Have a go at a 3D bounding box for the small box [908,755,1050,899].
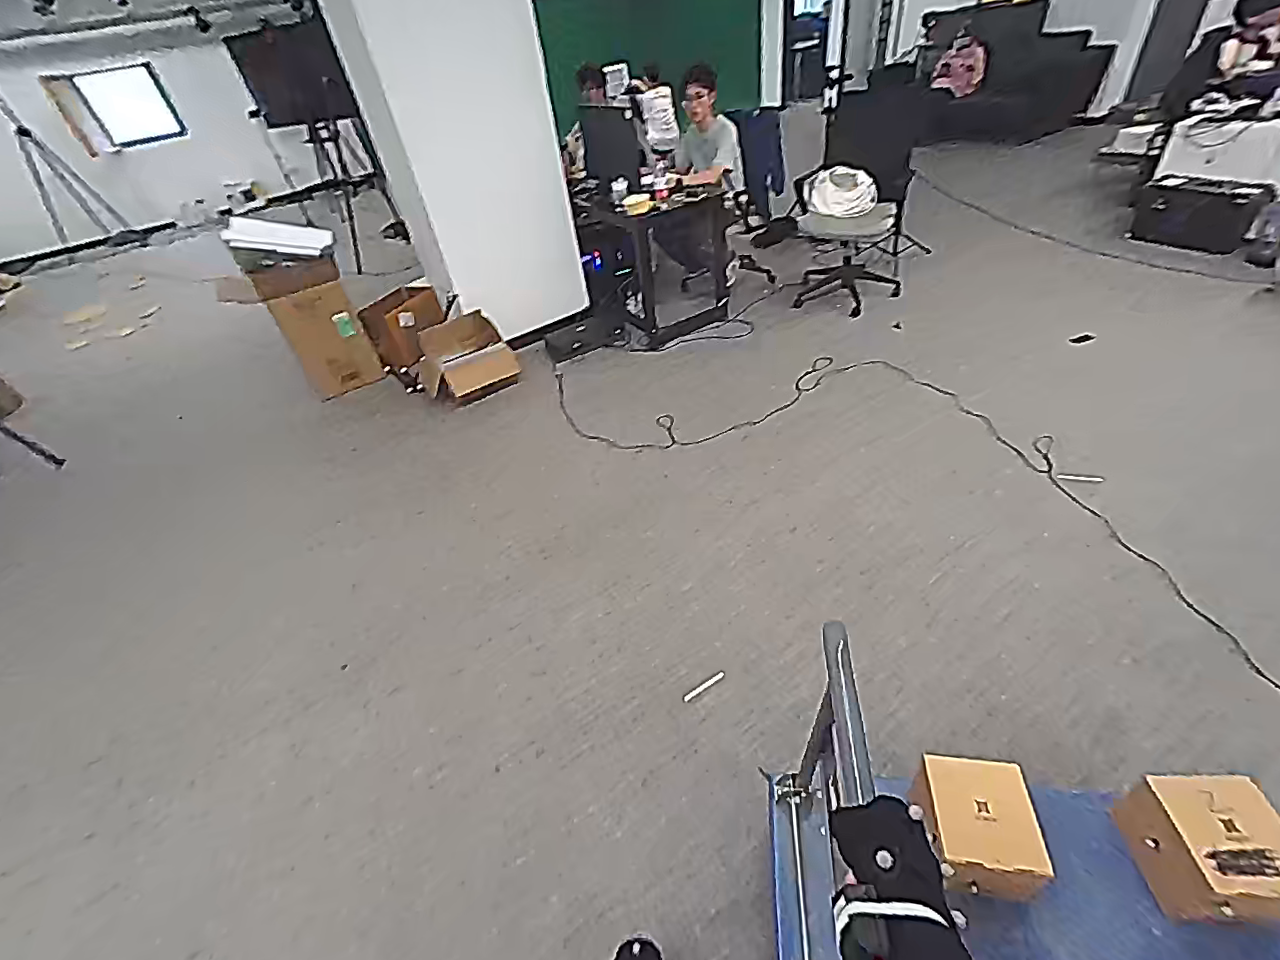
[{"bbox_3d":[0.617,0.649,1.014,0.168,0.176,0.179,1,43,12],"label":"small box"}]
